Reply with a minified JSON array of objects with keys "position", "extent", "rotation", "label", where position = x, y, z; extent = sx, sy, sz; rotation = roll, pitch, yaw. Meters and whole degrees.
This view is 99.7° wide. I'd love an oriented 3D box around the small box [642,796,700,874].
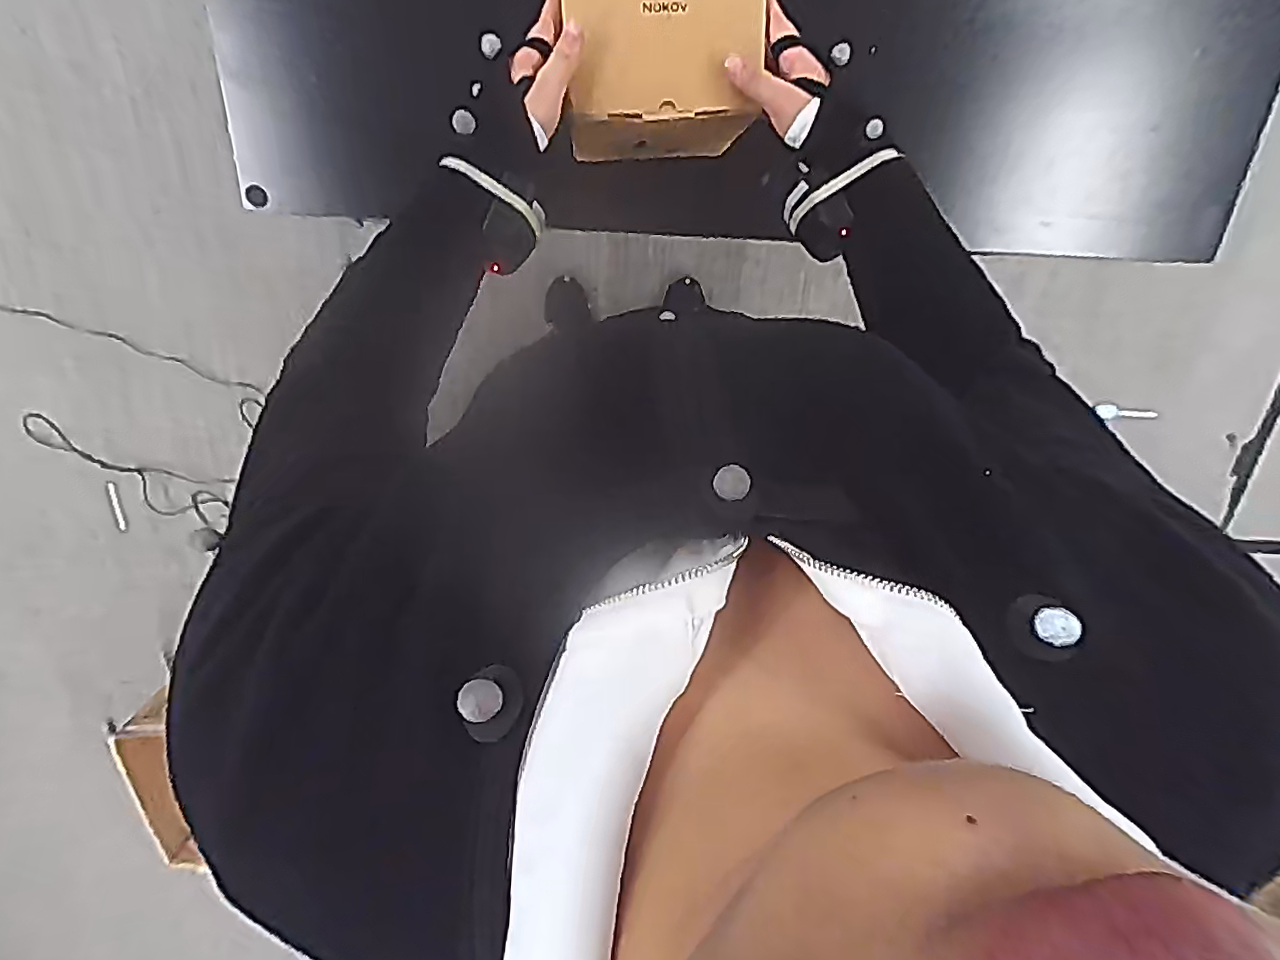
[{"position":[0.103,1.247,1.906],"extent":[0.179,0.176,0.168],"rotation":[4,109,-4],"label":"small box"}]
